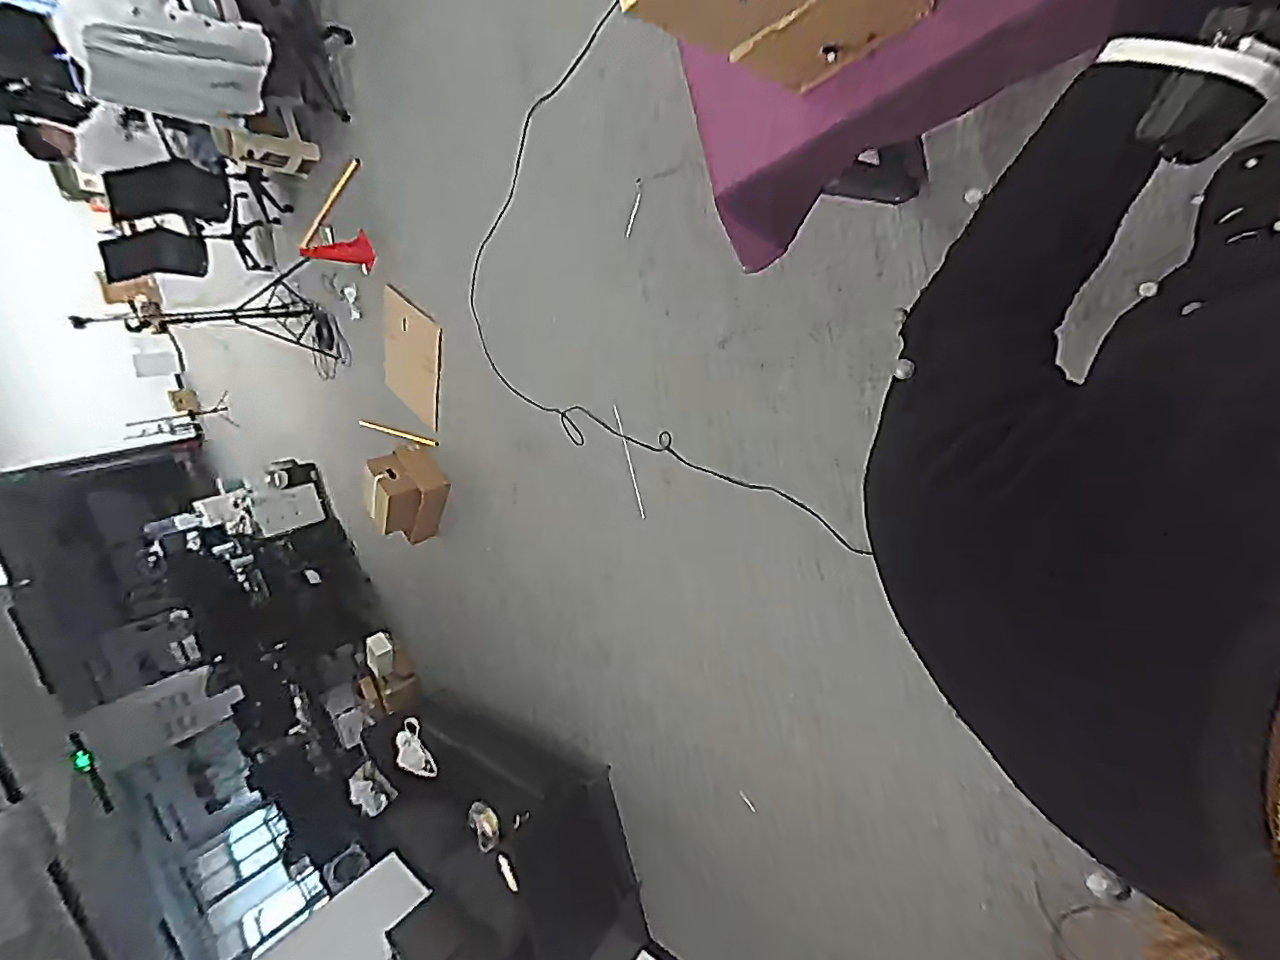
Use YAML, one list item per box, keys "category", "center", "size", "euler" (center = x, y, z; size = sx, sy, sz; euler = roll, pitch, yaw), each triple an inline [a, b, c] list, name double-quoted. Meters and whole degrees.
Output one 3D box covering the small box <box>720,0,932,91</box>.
- category: "small box"
  center: [0.195, -0.570, 0.587]
  size: [0.168, 0.176, 0.179]
  euler: [-6, 103, 46]
